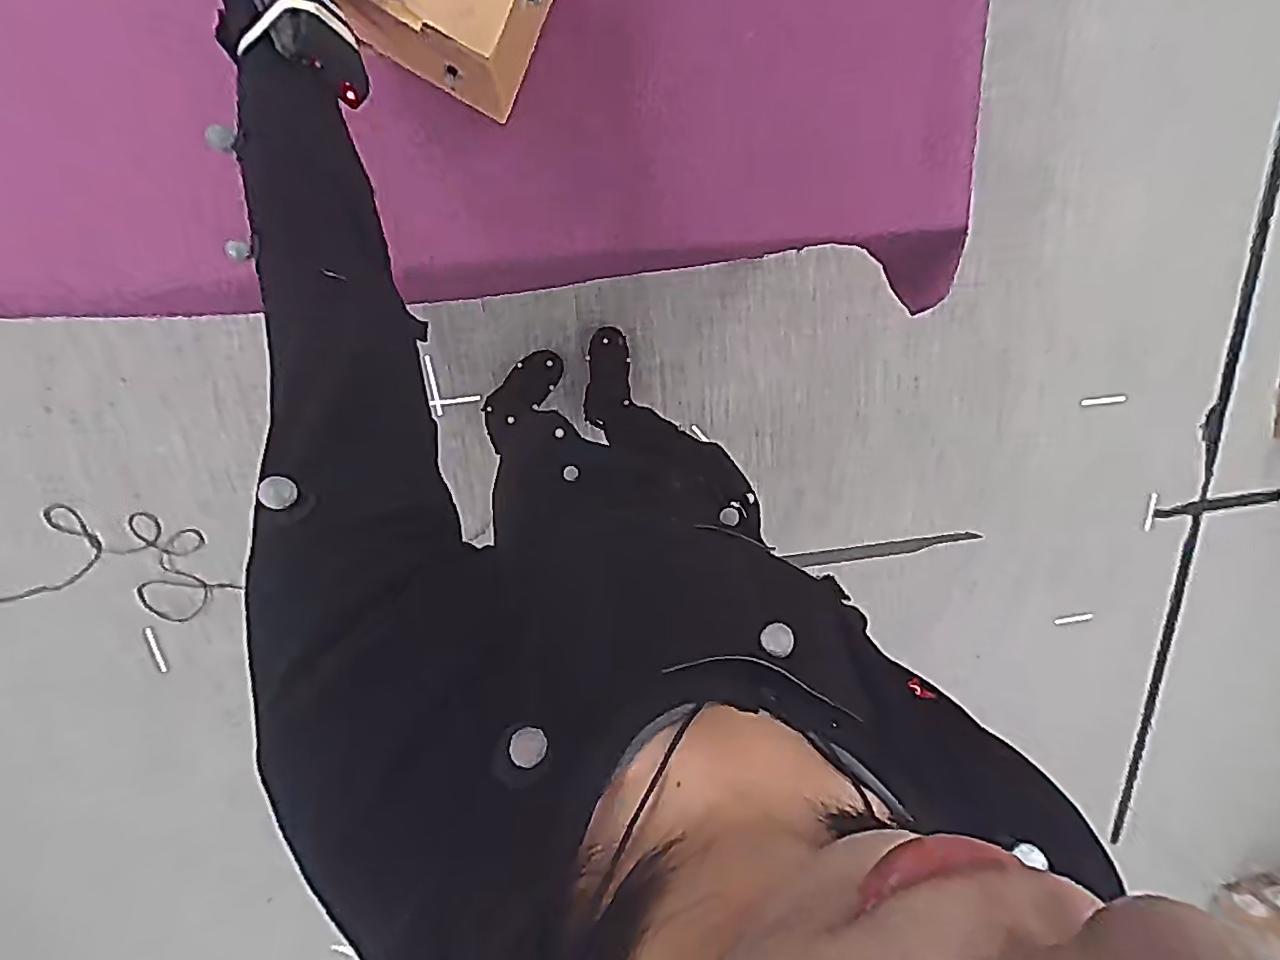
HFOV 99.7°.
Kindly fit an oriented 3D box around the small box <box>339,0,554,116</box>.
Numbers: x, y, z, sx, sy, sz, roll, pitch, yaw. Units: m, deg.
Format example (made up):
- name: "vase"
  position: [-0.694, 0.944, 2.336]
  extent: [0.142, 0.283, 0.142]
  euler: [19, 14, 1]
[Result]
- name: "small box"
  position: [-0.177, -0.492, 0.511]
  extent: [0.168, 0.176, 0.179]
  euler: [23, 102, -15]
